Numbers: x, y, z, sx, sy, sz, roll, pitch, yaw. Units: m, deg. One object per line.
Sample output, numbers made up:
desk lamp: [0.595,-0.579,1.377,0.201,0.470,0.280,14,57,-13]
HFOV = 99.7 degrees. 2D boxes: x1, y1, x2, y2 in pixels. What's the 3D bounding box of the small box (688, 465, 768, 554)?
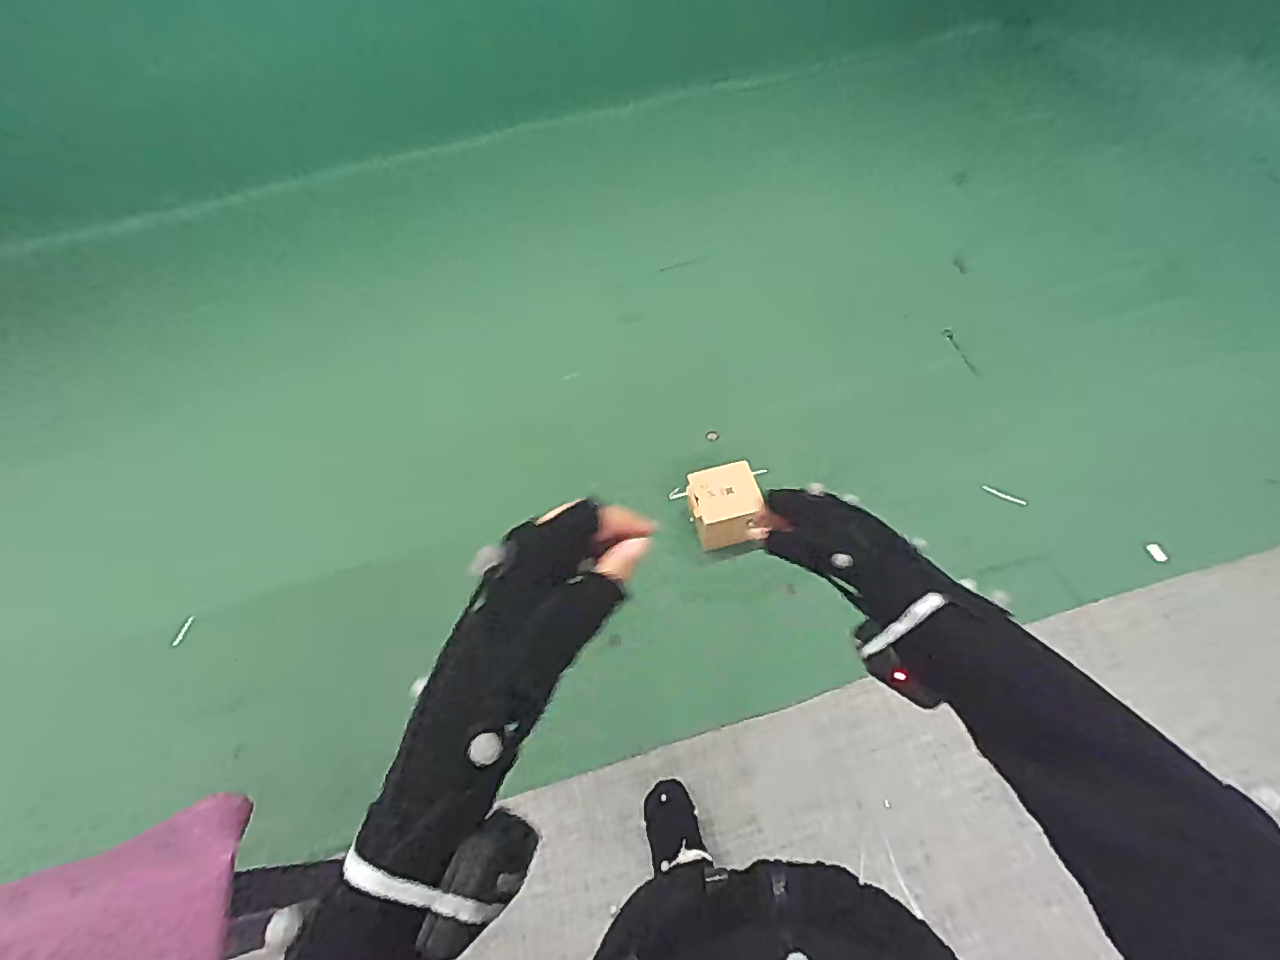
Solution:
small box: [0.240,0.086,1.526,0.179,0.176,0.168,-14,57,-4]
